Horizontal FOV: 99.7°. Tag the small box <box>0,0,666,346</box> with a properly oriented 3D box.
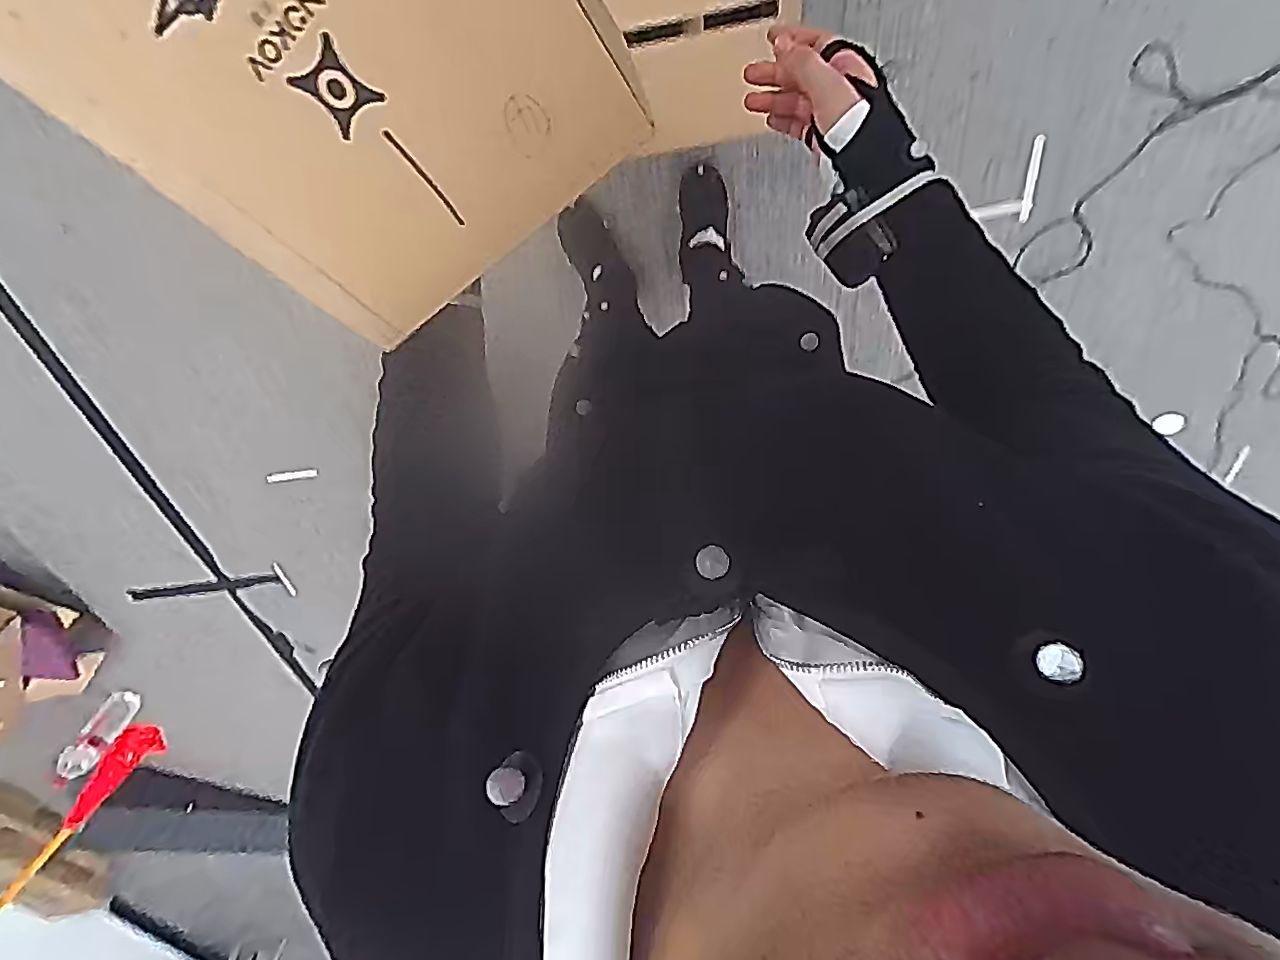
[{"bbox_3d":[-0.112,-0.201,0.229,0.168,0.176,0.179,-28,136,22],"label":"small box"}]
